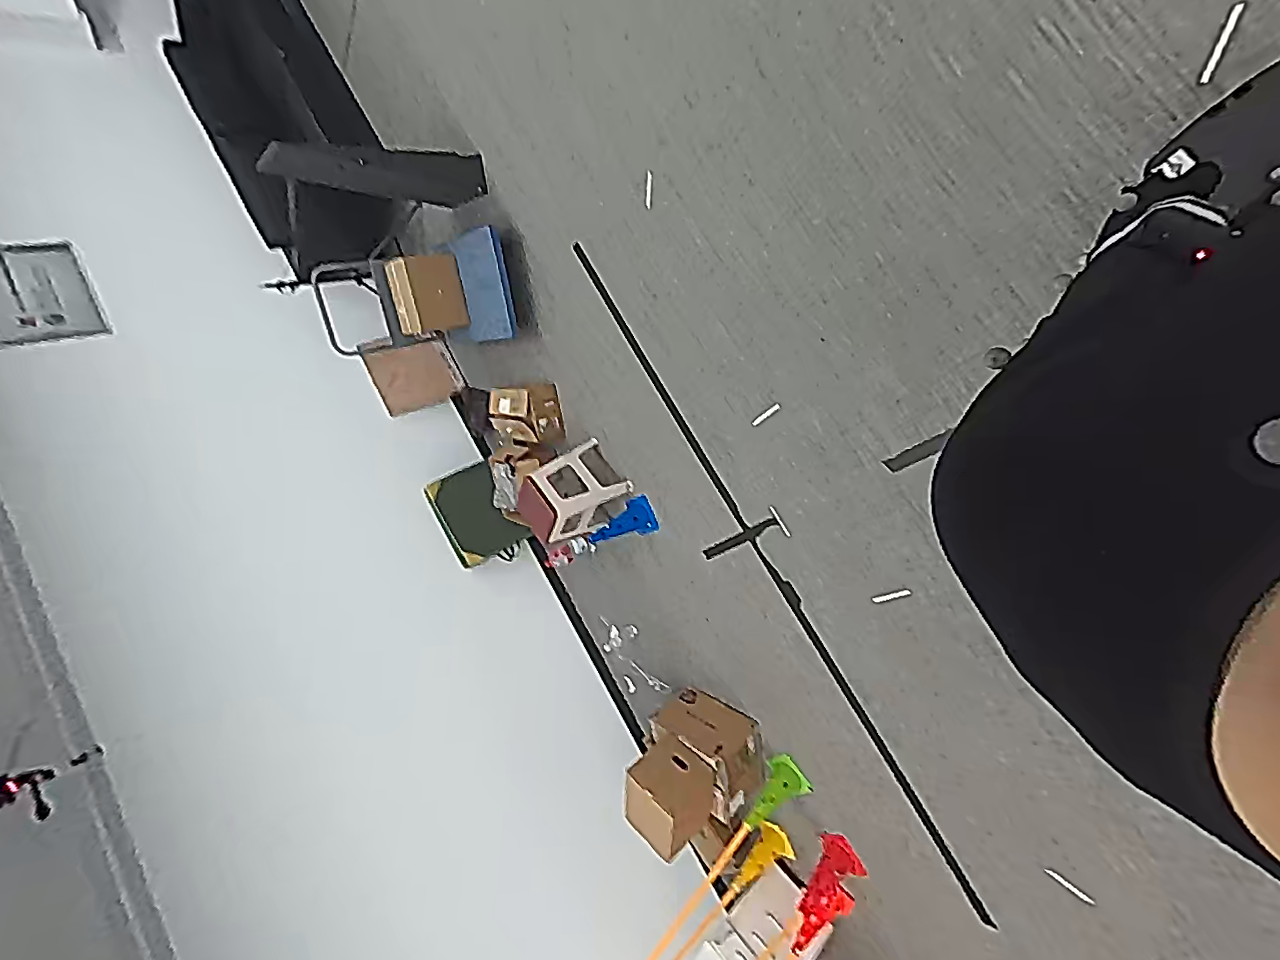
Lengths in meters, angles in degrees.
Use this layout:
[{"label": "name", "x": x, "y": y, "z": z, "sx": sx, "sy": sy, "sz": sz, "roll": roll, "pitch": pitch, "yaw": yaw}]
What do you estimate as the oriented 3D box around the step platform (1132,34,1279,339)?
[{"label": "step platform", "x": 1.217, "y": -0.435, "z": 0.934, "sx": 0.684, "sy": 0.204, "sz": 0.286, "roll": 60, "pitch": 143, "yaw": 10}]
